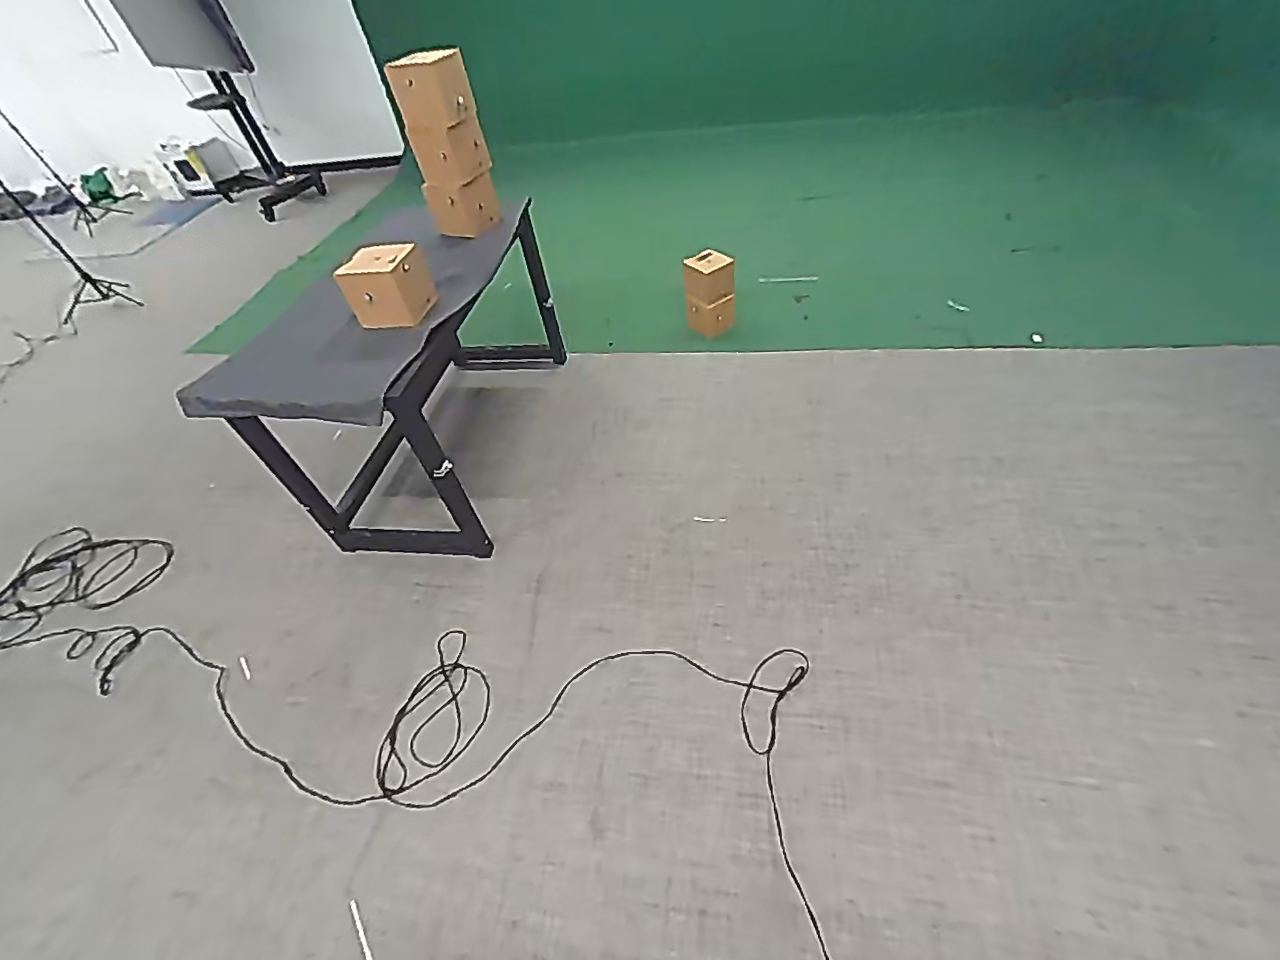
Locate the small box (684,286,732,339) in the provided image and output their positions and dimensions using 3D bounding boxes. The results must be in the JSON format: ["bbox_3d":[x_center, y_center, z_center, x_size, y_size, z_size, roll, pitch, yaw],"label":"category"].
[{"bbox_3d":[0.334,-0.807,2.620,0.168,0.176,0.179,-32,50,-19],"label":"small box"}]

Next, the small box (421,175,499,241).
[{"bbox_3d":[-0.632,-0.969,1.924,0.179,0.176,0.168,16,52,25],"label":"small box"}]

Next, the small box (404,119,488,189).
[{"bbox_3d":[-0.642,-1.092,1.816,0.179,0.176,0.168,12,50,22],"label":"small box"}]

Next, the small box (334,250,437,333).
[{"bbox_3d":[-0.718,-0.535,1.545,0.179,0.176,0.168,0,48,12],"label":"small box"}]

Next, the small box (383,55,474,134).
[{"bbox_3d":[-0.657,-1.208,1.701,0.179,0.176,0.168,8,49,17],"label":"small box"}]
